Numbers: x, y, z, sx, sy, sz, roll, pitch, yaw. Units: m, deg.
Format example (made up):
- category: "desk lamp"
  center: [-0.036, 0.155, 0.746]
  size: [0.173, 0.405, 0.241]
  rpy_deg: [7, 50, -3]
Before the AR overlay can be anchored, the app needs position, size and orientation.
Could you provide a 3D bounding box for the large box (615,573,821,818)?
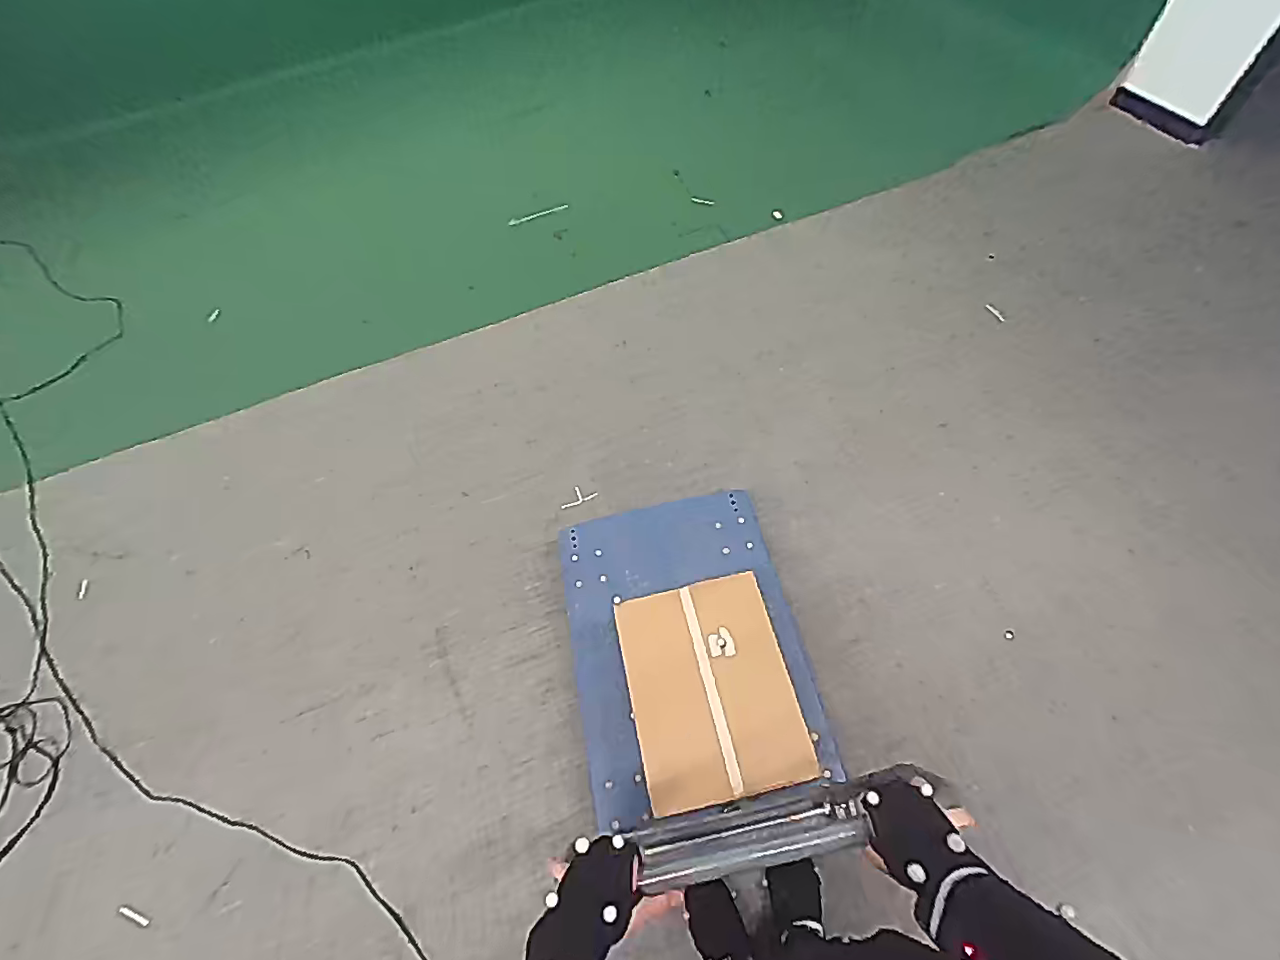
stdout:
- category: "large box"
  center: [0.153, 0.476, 1.190]
  size: [0.320, 0.320, 0.408]
  rpy_deg: [-13, 58, -2]
